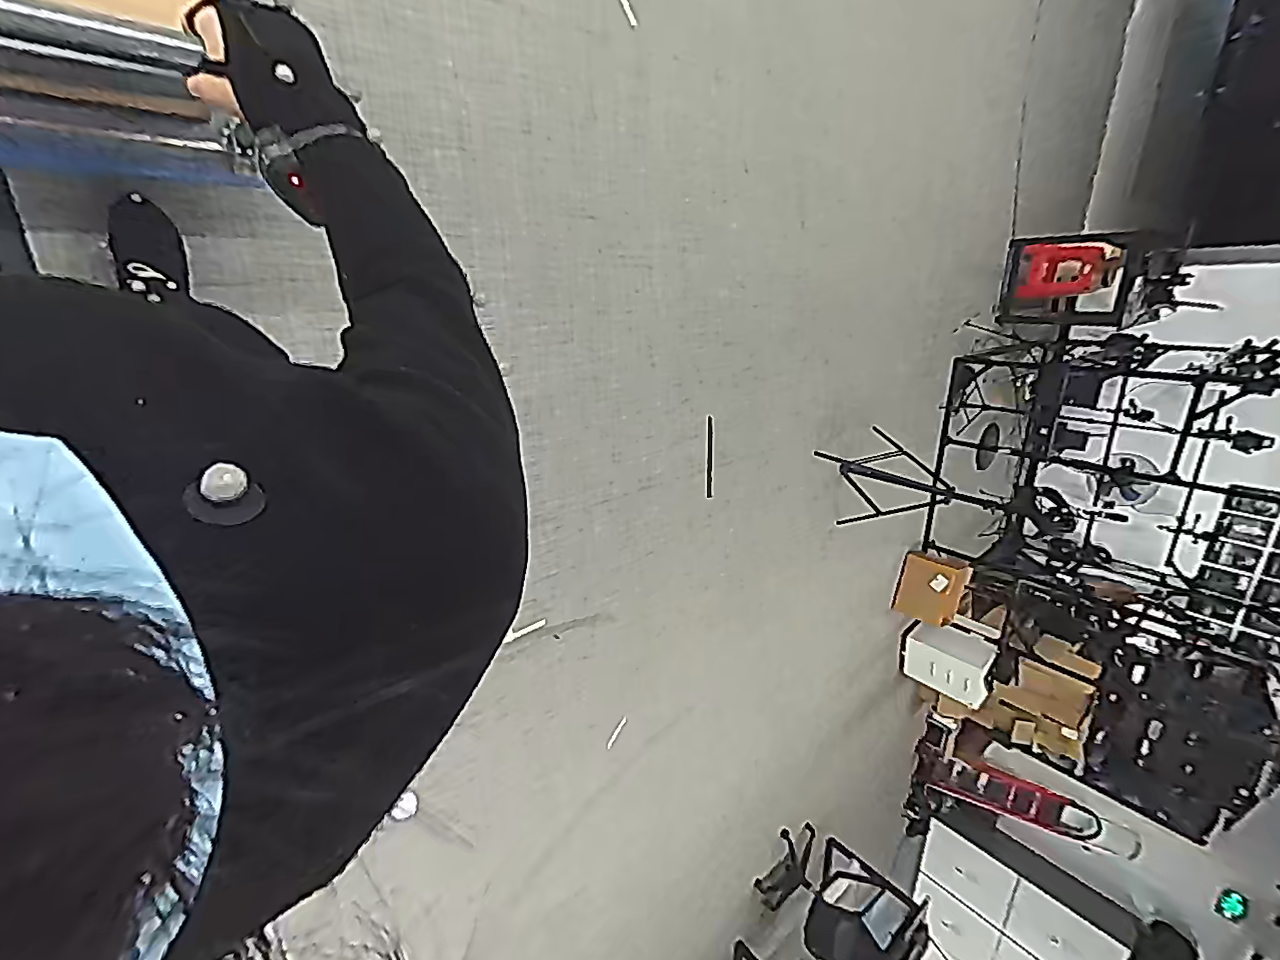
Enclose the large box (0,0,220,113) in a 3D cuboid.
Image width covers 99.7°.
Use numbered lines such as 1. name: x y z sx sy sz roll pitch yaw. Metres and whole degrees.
1. large box: -0.807 -0.689 0.649 0.408 0.320 0.320 -17 116 -39
